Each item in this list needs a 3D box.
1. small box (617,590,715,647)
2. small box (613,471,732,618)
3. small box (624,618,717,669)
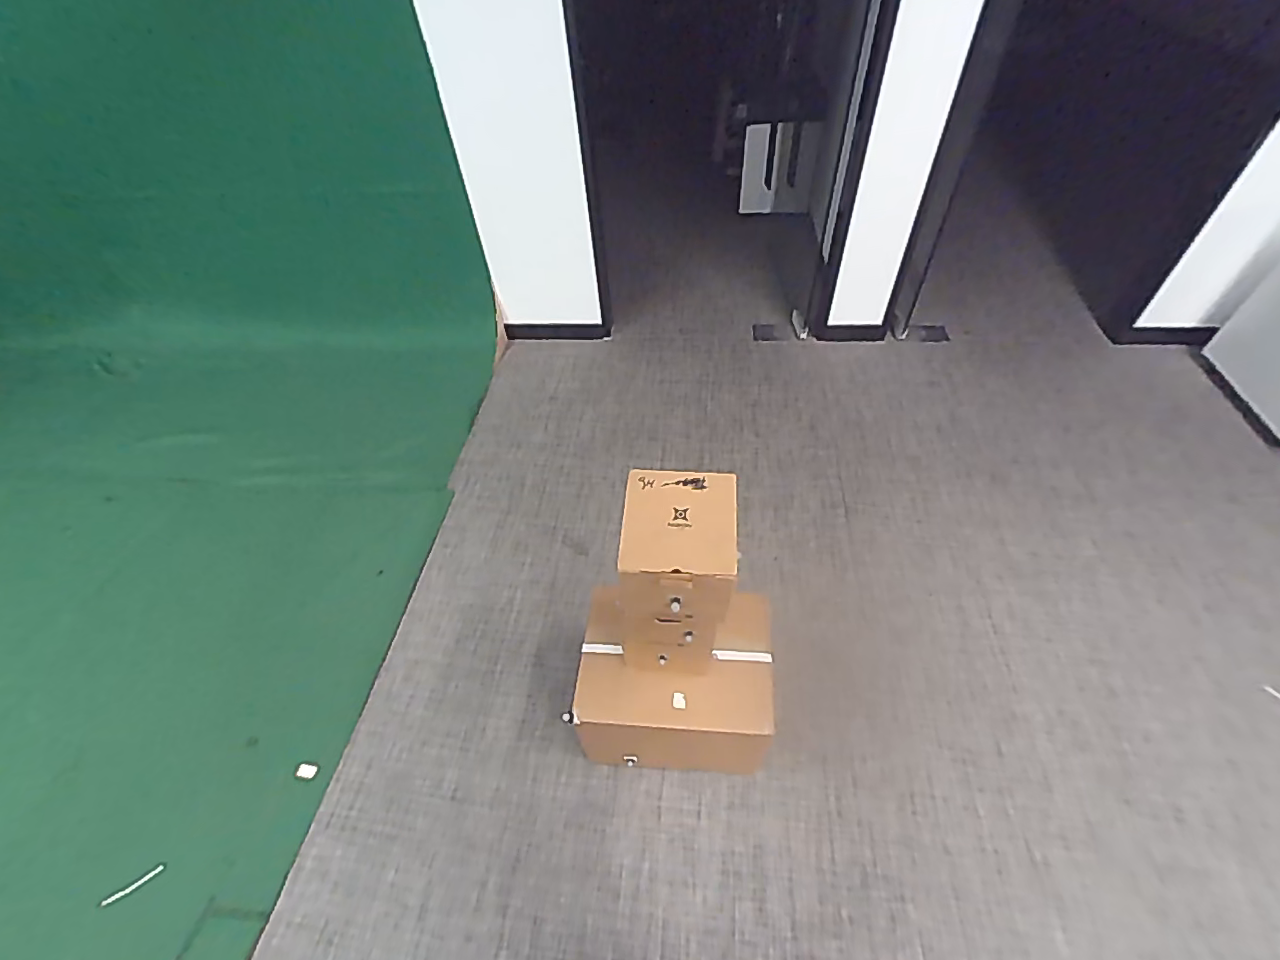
[{"bbox_3d":[0.055,0.193,0.990,0.168,0.176,0.179,2,54,5],"label":"small box"},{"bbox_3d":[0.057,0.106,0.852,0.168,0.176,0.179,2,56,6],"label":"small box"},{"bbox_3d":[0.066,0.287,1.122,0.179,0.176,0.168,1,55,5],"label":"small box"}]
